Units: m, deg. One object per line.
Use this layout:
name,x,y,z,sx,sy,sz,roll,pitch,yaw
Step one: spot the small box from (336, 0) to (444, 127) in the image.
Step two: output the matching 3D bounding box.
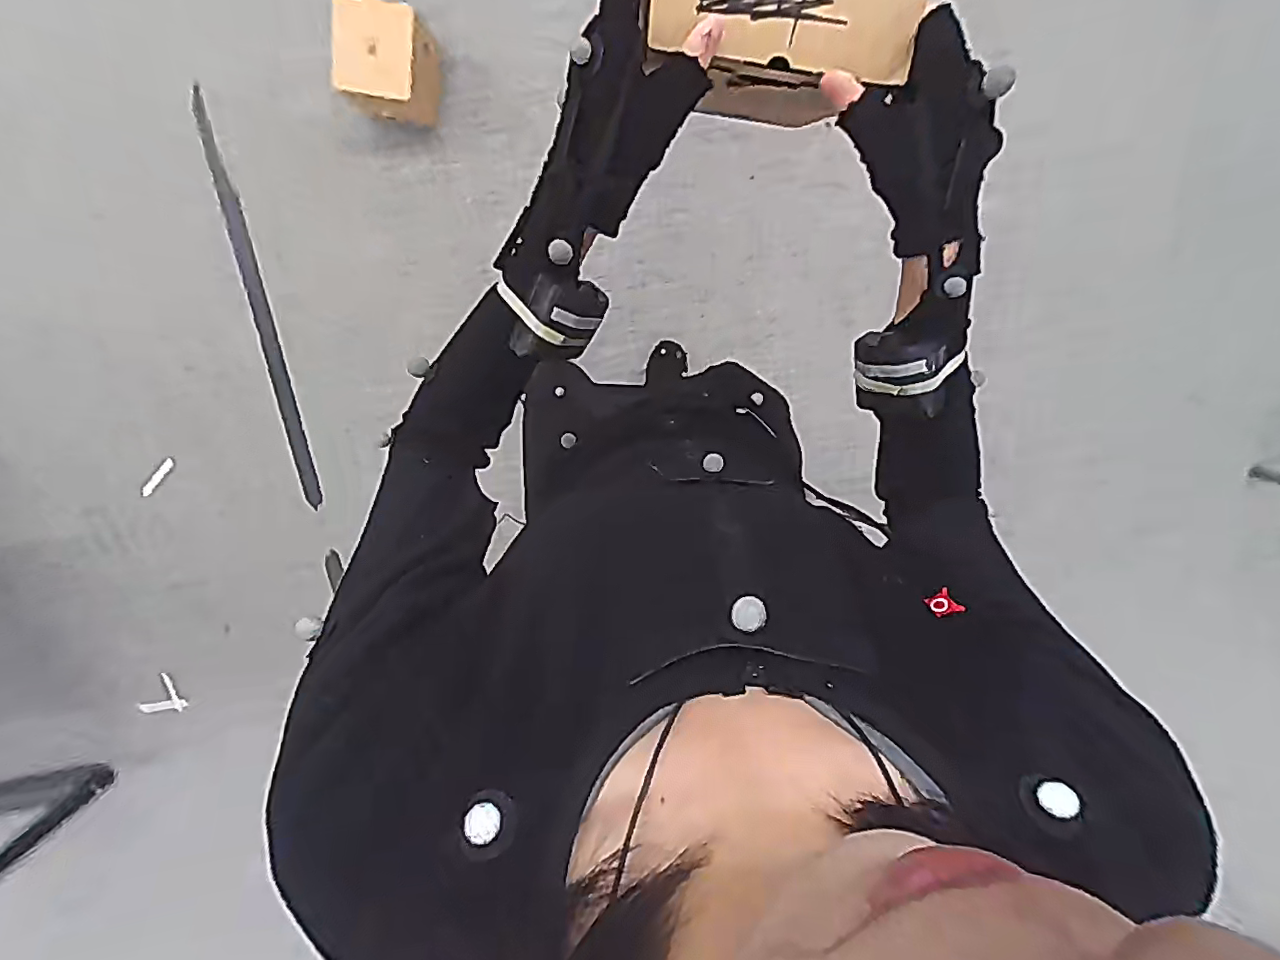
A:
small box,-0.543,-0.919,1.193,0.168,0.176,0.179,8,105,-2

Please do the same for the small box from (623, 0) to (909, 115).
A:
small box,0.080,-0.370,0.369,0.168,0.176,0.179,3,115,-8
